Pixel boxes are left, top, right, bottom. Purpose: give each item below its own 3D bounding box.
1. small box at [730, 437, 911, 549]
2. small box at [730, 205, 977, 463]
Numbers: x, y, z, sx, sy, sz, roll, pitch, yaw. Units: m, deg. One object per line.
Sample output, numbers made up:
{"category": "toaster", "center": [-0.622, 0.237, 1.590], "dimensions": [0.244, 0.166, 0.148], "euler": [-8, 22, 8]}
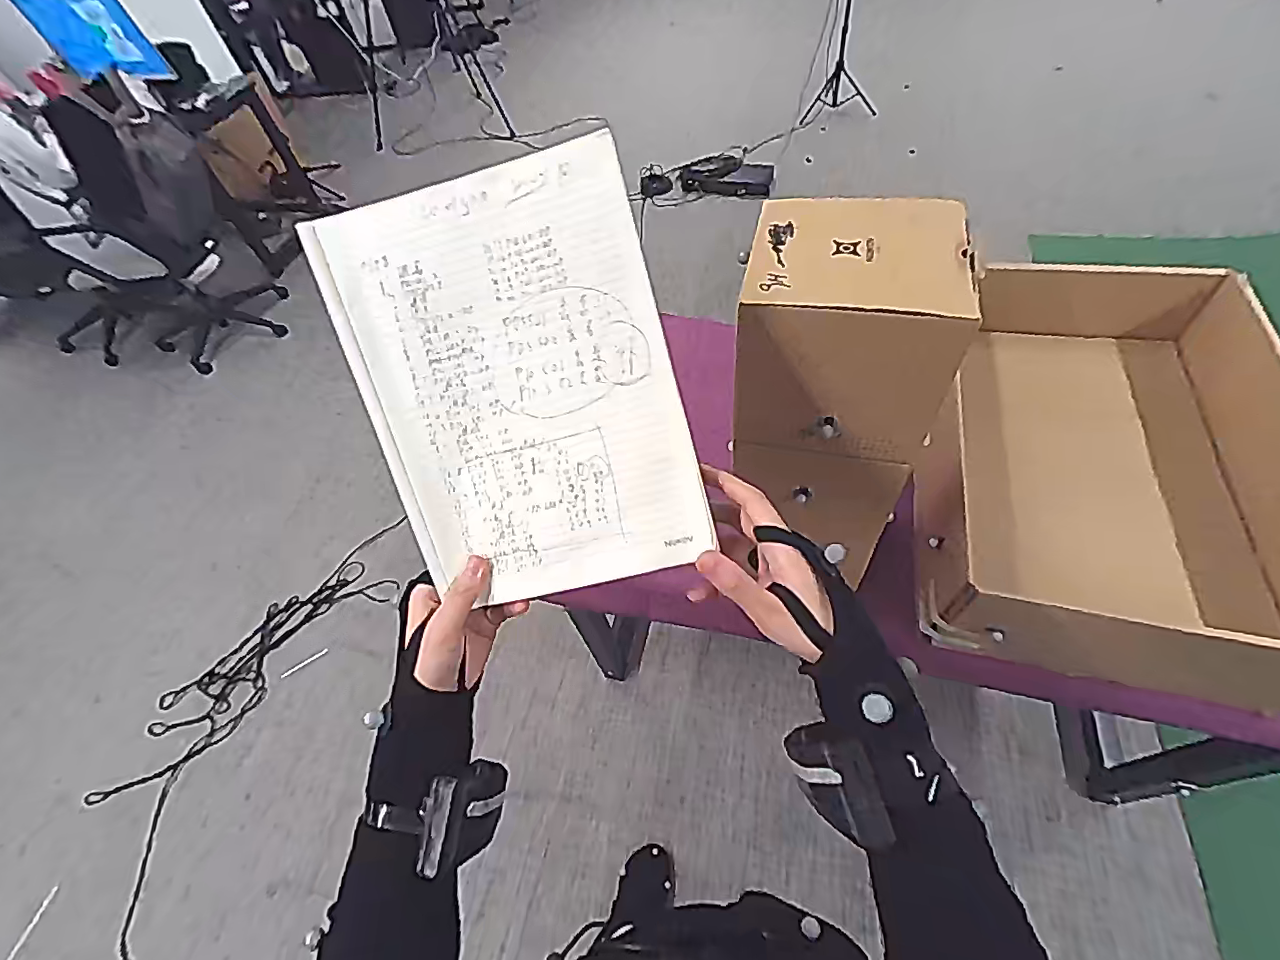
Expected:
{"category": "small box", "center": [0.208, -0.036, 0.645], "dimensions": [0.179, 0.176, 0.168], "euler": [9, 54, 16]}
{"category": "small box", "center": [0.188, -0.135, 0.515], "dimensions": [0.179, 0.176, 0.168], "euler": [9, 54, 14]}
